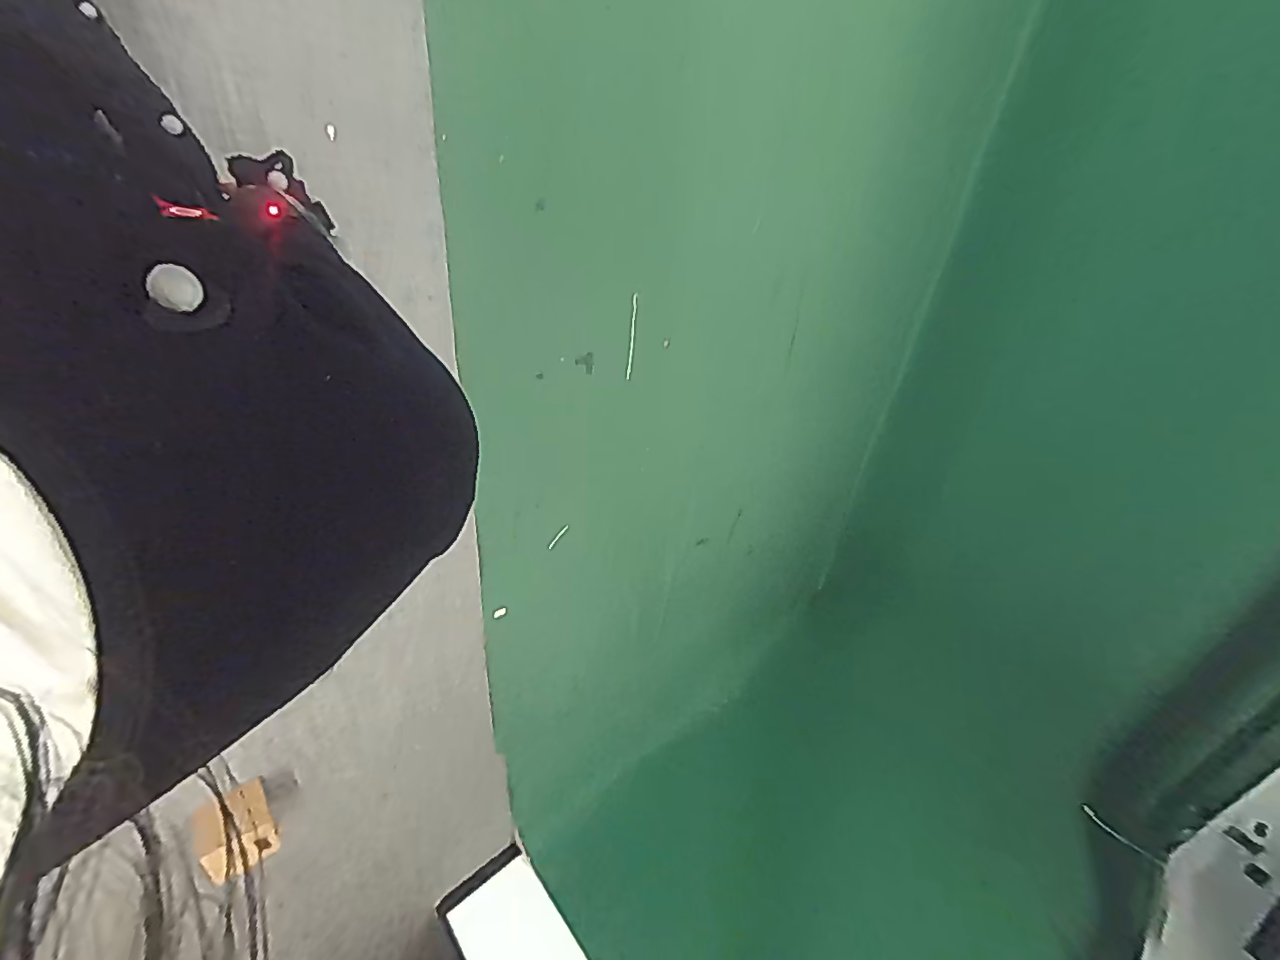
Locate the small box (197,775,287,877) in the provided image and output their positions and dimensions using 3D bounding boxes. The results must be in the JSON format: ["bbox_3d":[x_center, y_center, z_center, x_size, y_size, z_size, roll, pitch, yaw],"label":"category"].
[{"bbox_3d":[-1.244,1.071,1.690,0.179,0.176,0.168,-21,130,-37],"label":"small box"}]
